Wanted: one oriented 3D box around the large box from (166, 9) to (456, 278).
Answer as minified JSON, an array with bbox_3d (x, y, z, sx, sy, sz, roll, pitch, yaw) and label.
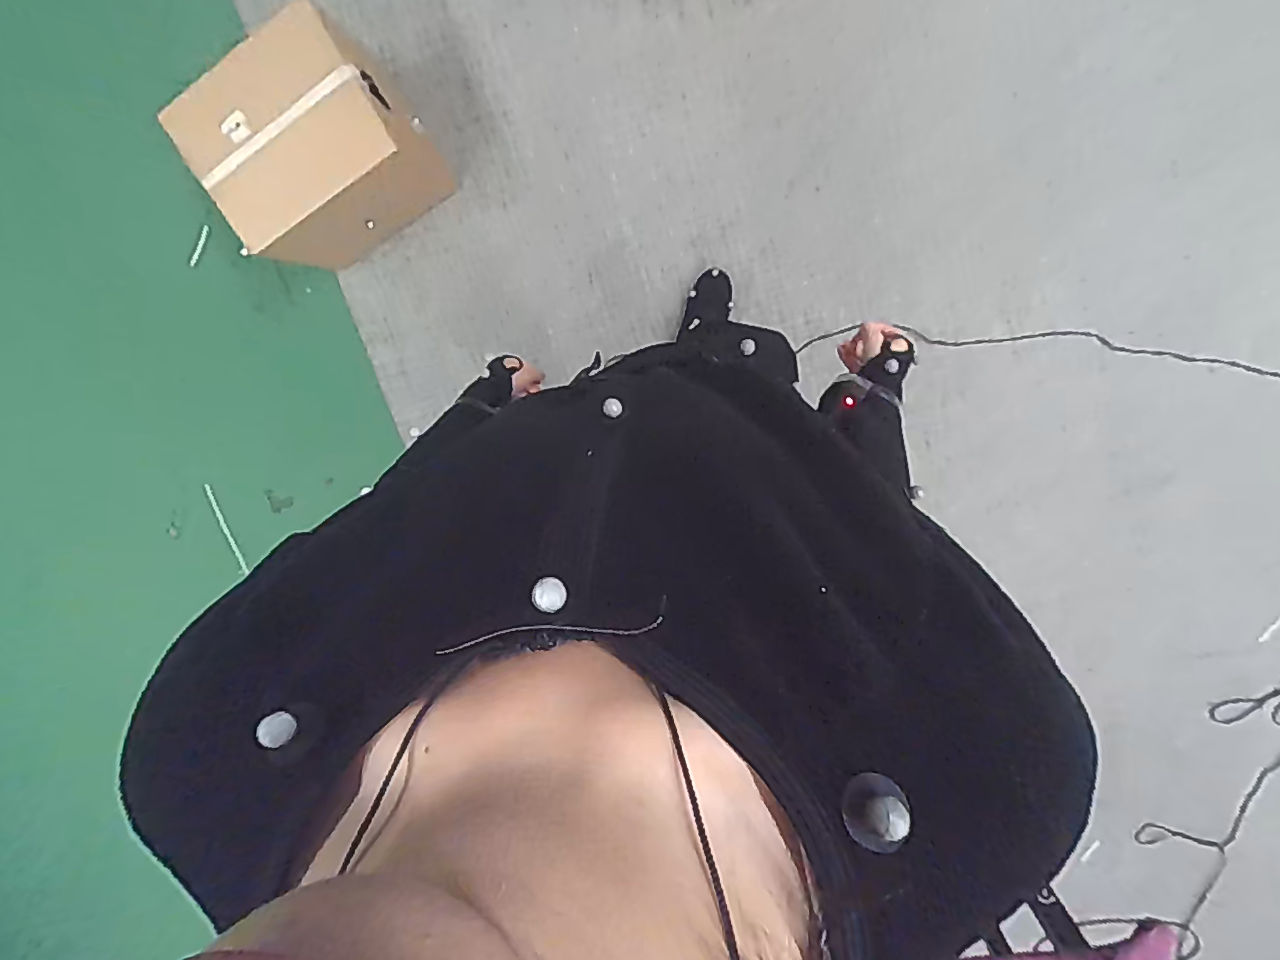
[{"bbox_3d":[-0.714,-0.716,1.235,0.408,0.320,0.320,-28,100,11],"label":"large box"}]
